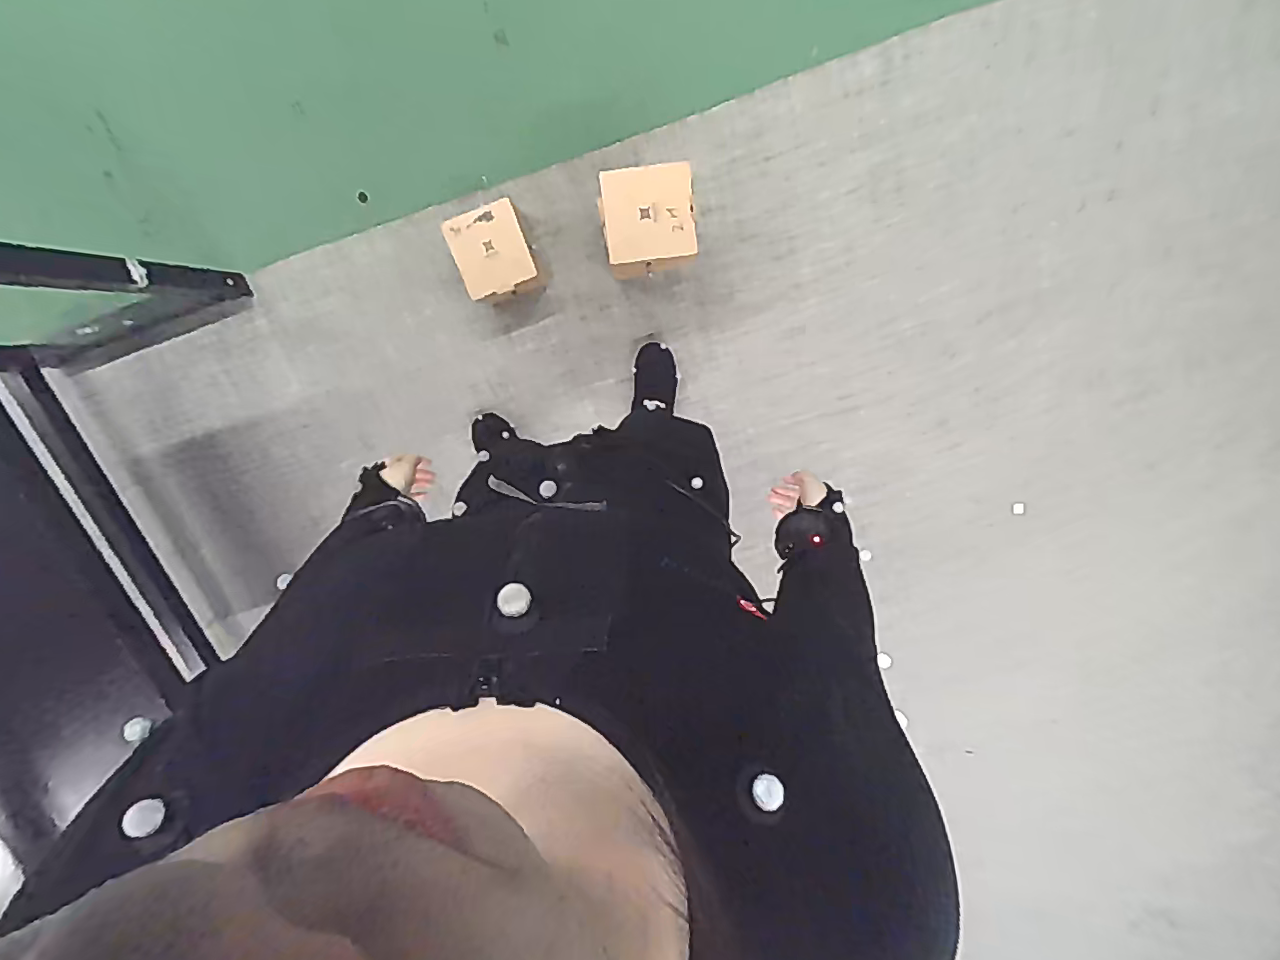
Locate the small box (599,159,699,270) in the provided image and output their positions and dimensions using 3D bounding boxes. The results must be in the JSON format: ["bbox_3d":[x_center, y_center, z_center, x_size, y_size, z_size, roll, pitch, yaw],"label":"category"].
[{"bbox_3d":[0.018,-0.526,1.091,0.179,0.176,0.168,-7,107,1],"label":"small box"}]

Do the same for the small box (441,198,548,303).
[{"bbox_3d":[-0.328,-0.524,1.258,0.168,0.176,0.179,-19,105,5],"label":"small box"}]
